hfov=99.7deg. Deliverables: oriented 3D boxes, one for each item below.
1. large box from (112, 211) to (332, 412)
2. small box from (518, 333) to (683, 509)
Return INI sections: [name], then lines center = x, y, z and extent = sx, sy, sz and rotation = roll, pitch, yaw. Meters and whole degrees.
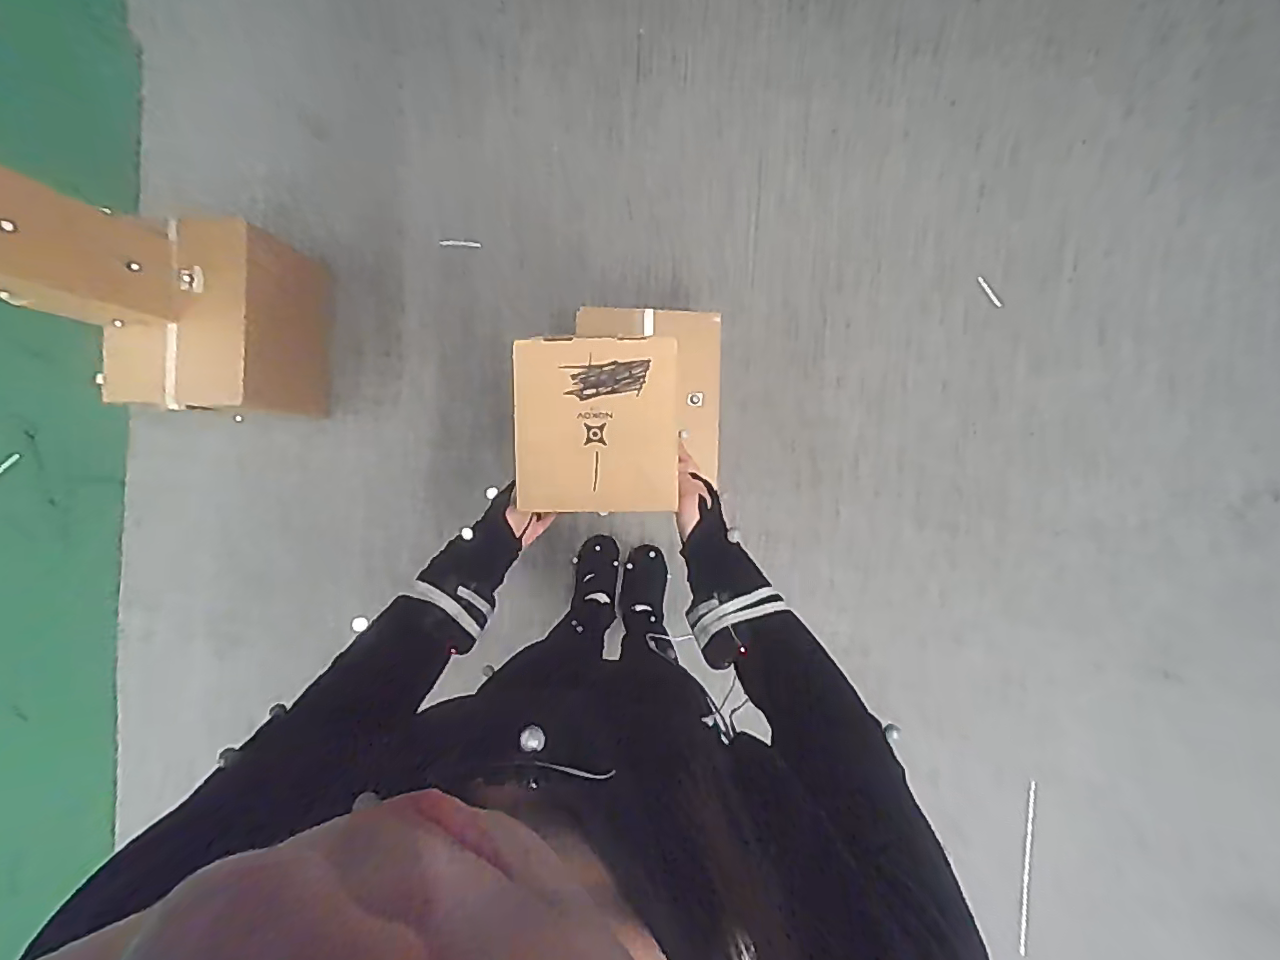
[large box]
center = -0.986, -0.380, 1.315
extent = 0.320, 0.320, 0.408
rotation = 2, 91, 2
[small box]
center = -0.038, -0.064, 0.620
extent = 0.168, 0.176, 0.179
rotation = 0, 95, 3
